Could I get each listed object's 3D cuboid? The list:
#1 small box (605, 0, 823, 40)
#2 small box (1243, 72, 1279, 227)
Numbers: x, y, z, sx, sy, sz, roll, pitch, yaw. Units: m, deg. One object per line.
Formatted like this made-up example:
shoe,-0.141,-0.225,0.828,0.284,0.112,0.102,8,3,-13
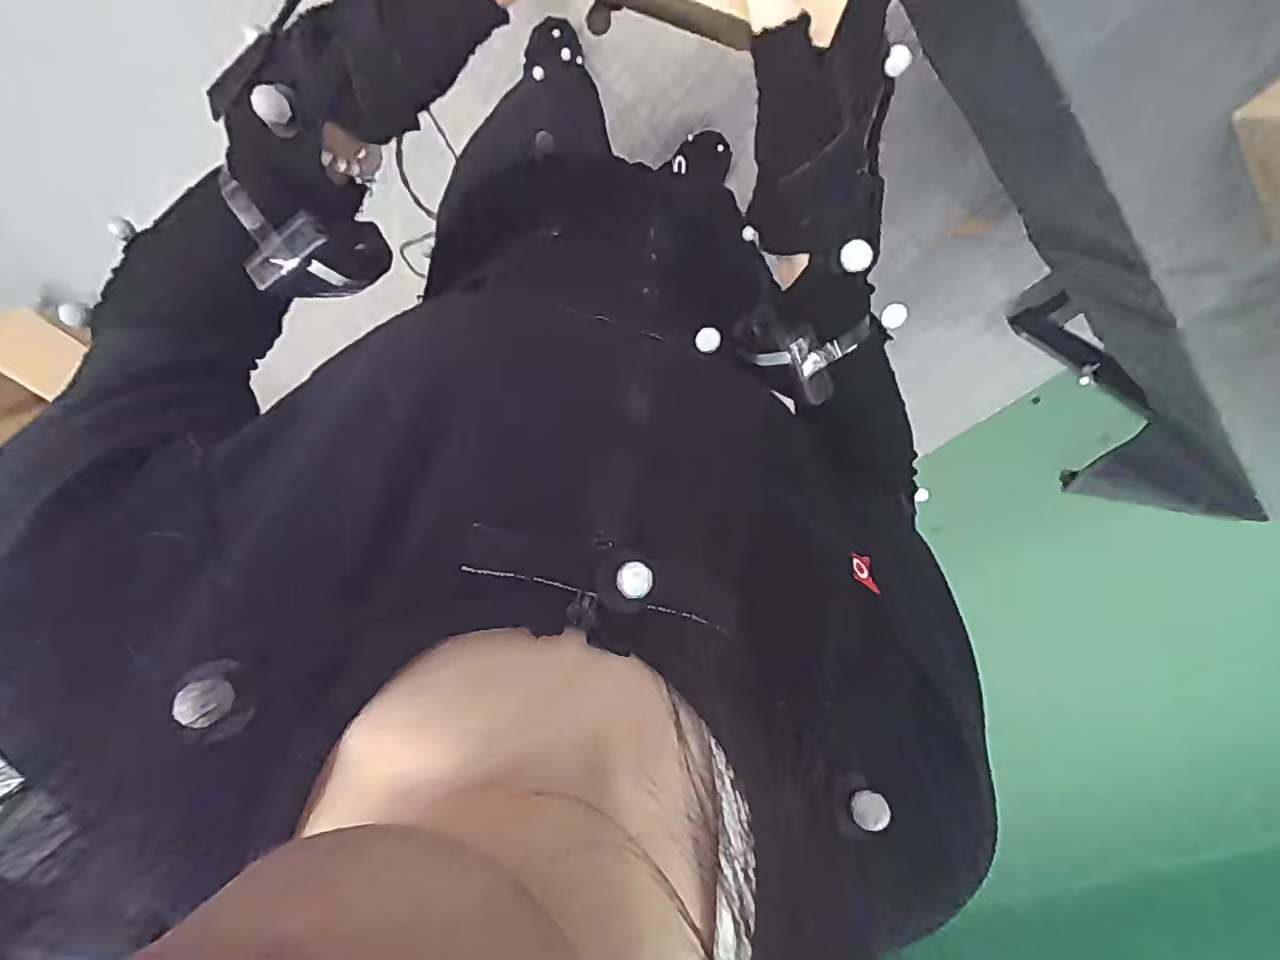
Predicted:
small box,0.015,-0.334,0.244,0.168,0.176,0.179,9,126,-13
small box,0.683,-0.304,0.449,0.168,0.176,0.179,-38,114,25
